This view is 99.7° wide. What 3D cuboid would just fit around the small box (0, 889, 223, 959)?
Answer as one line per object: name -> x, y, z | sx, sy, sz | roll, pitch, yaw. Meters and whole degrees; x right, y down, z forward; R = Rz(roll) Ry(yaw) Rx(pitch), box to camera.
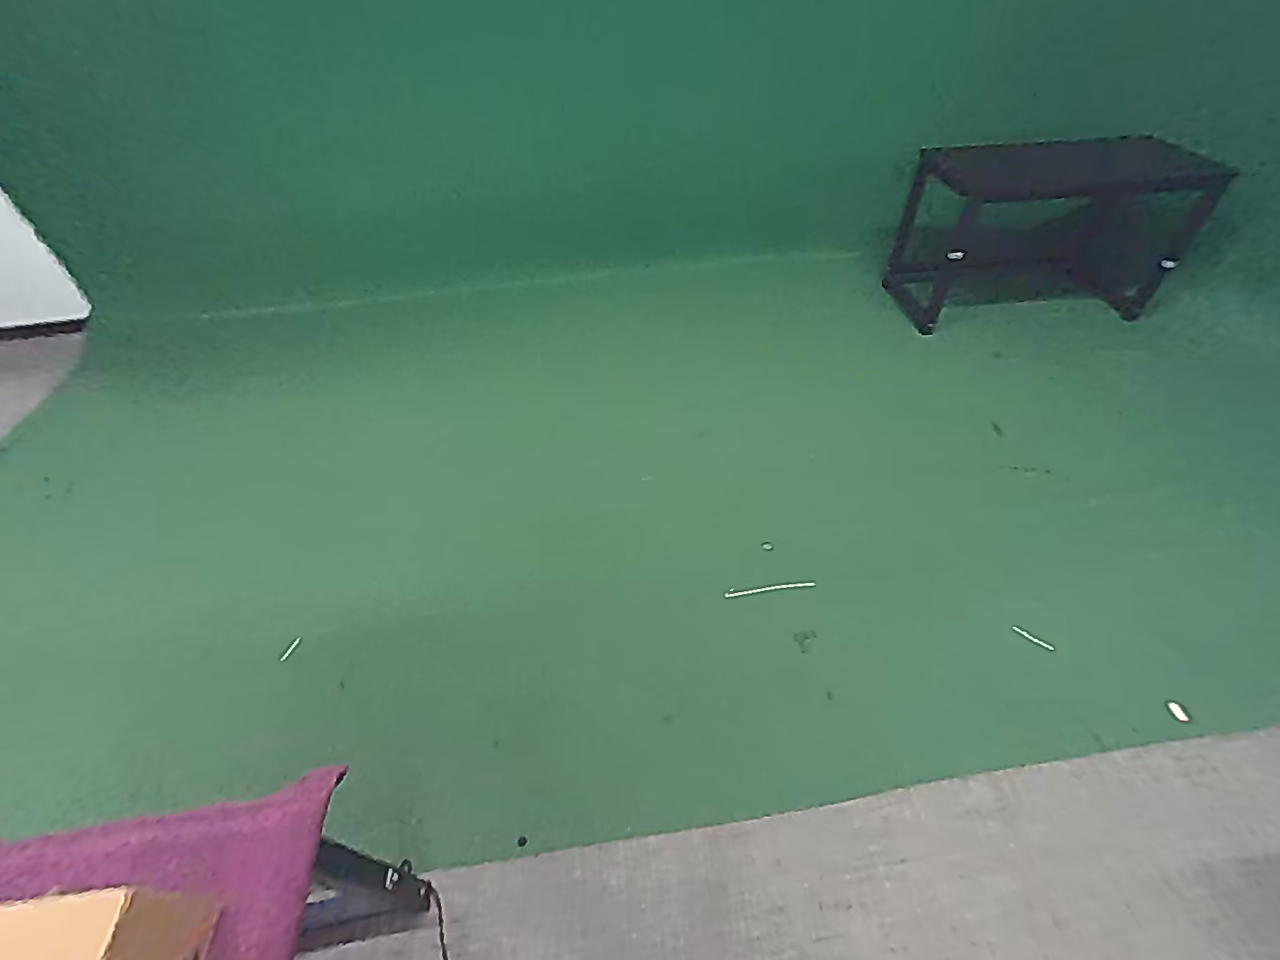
small box -> -0.642, 0.588, 0.616 | 0.179, 0.176, 0.168 | -7, 48, -2
